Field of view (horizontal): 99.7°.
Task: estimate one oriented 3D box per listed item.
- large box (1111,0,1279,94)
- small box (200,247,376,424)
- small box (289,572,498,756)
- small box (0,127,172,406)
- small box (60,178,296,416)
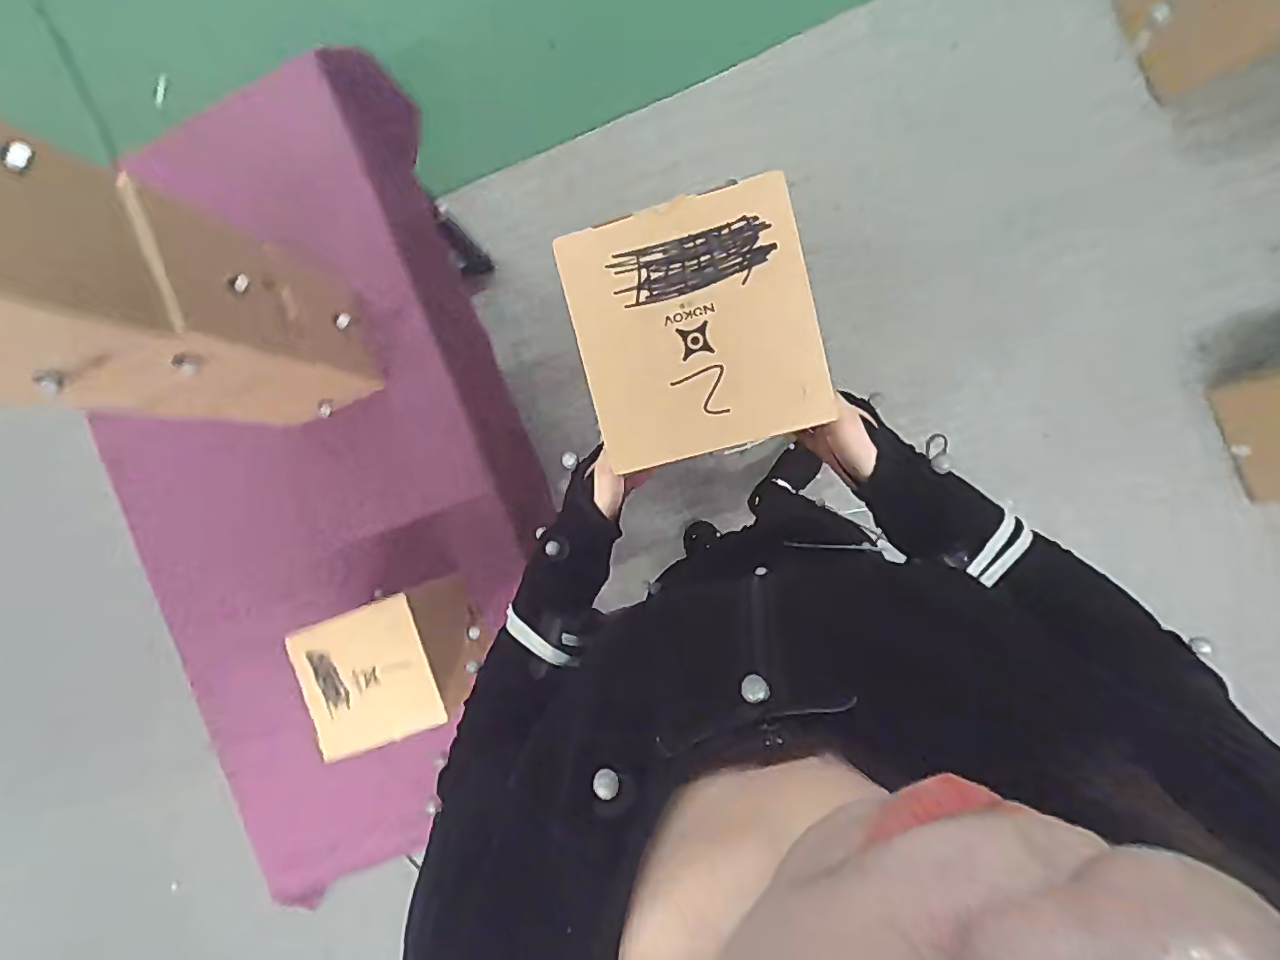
[{"bbox_3d":[1.409,-1.178,1.201,0.408,0.320,0.320,-22,88,5],"label":"large box"},{"bbox_3d":[-0.507,-0.189,0.763,0.179,0.176,0.168,-22,88,6],"label":"small box"},{"bbox_3d":[-0.327,0.241,0.749,0.179,0.176,0.168,-21,89,6],"label":"small box"},{"bbox_3d":[-0.547,-0.174,0.437,0.168,0.176,0.179,-23,89,8],"label":"small box"},{"bbox_3d":[-0.524,-0.183,0.599,0.179,0.176,0.168,-23,88,7],"label":"small box"}]
